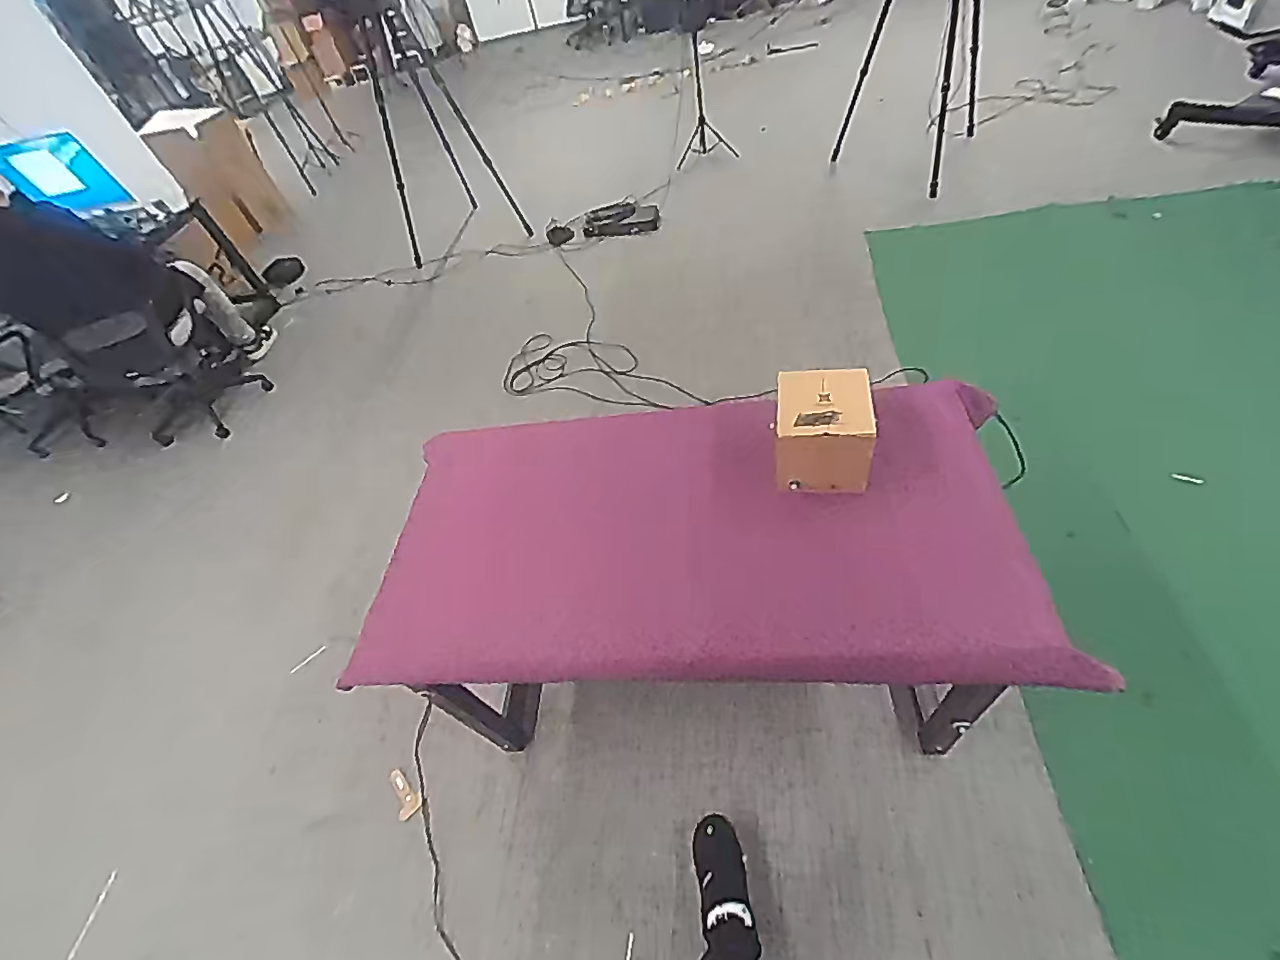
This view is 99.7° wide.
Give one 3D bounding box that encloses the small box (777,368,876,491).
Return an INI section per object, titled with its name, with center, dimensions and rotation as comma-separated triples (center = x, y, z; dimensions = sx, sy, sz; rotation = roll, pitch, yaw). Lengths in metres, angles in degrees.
[small box]
center = 0.353, -0.093, 1.043
dimensions = 0.168, 0.176, 0.179
rotation = 1, 51, 15
